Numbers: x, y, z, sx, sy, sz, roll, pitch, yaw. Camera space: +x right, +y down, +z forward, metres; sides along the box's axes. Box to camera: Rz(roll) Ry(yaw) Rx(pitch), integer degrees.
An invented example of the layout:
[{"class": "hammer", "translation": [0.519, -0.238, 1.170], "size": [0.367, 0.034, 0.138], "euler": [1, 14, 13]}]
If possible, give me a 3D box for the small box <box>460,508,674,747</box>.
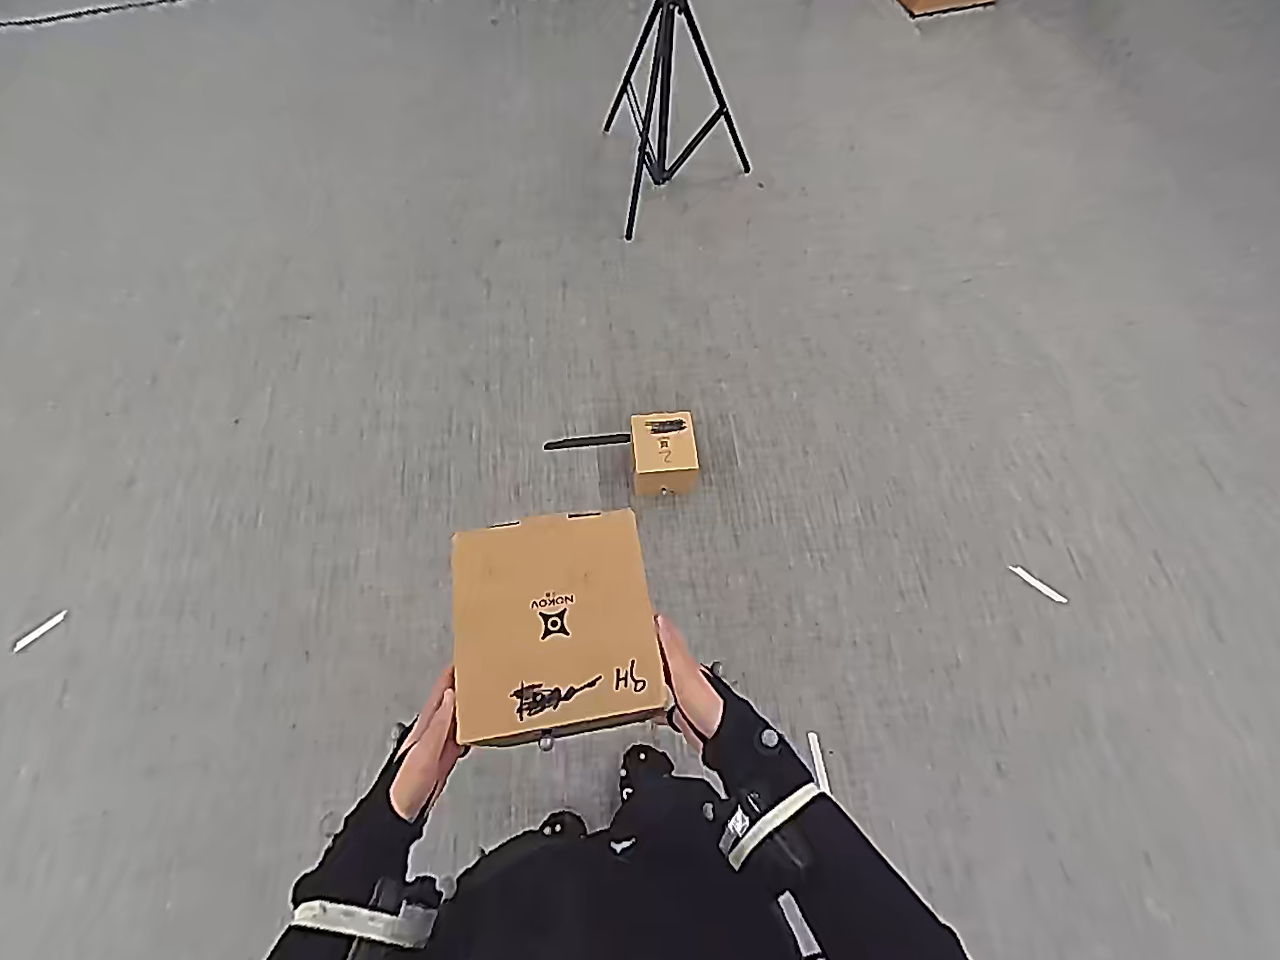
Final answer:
[{"class": "small box", "translation": [-0.073, 0.148, 0.523], "size": [0.168, 0.176, 0.179], "euler": [-7, 64, -8]}]
